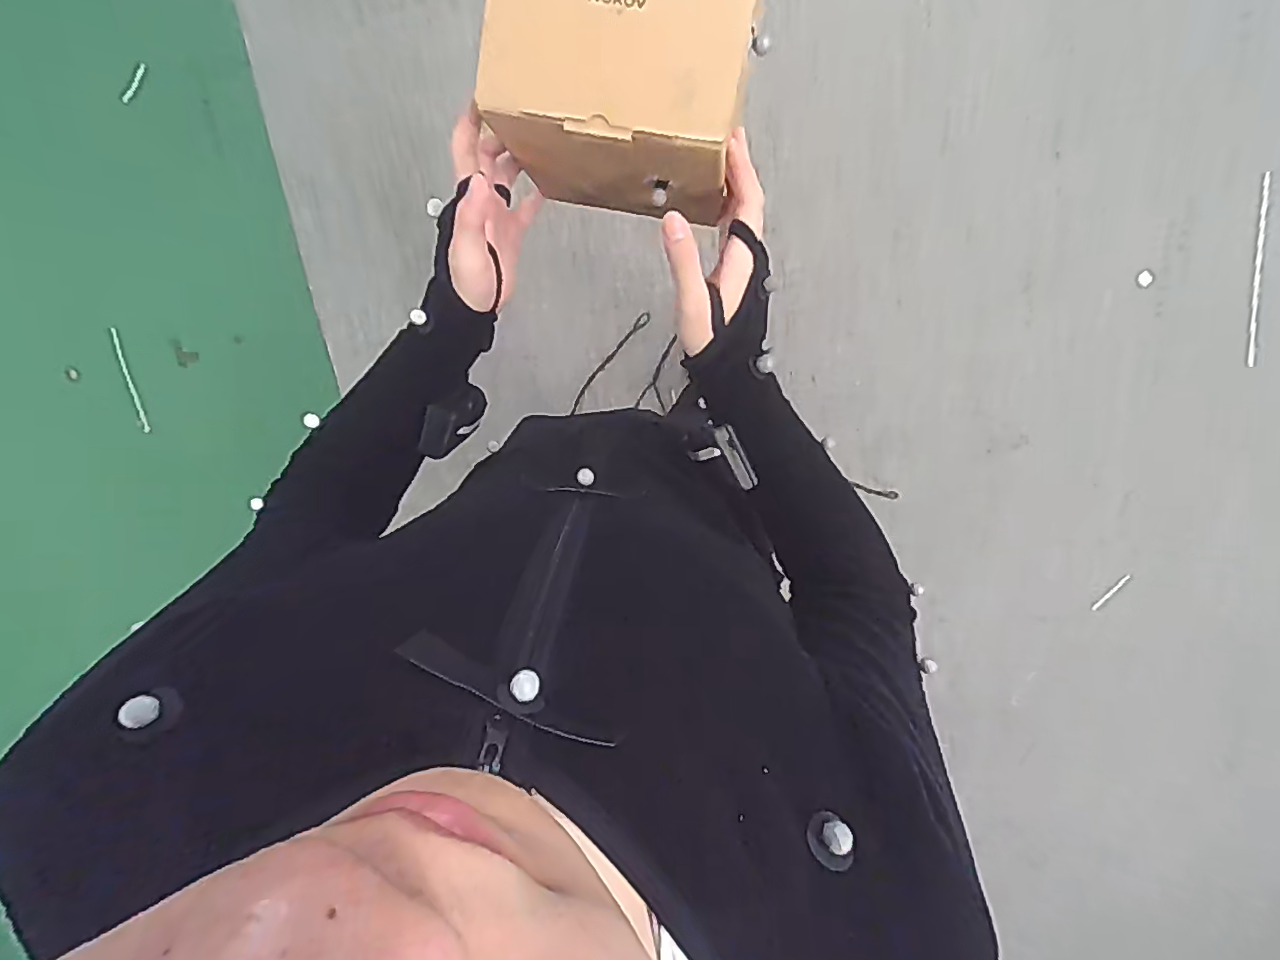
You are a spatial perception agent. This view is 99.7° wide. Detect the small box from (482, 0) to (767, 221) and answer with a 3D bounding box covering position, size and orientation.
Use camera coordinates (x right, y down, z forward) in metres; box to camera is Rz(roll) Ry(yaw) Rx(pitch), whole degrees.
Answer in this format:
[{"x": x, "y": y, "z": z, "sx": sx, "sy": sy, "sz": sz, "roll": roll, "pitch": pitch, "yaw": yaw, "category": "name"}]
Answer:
[{"x": 0.001, "y": -0.318, "z": 0.407, "sx": 0.168, "sy": 0.176, "sz": 0.179, "roll": 12, "pitch": 100, "yaw": 4, "category": "small box"}]
